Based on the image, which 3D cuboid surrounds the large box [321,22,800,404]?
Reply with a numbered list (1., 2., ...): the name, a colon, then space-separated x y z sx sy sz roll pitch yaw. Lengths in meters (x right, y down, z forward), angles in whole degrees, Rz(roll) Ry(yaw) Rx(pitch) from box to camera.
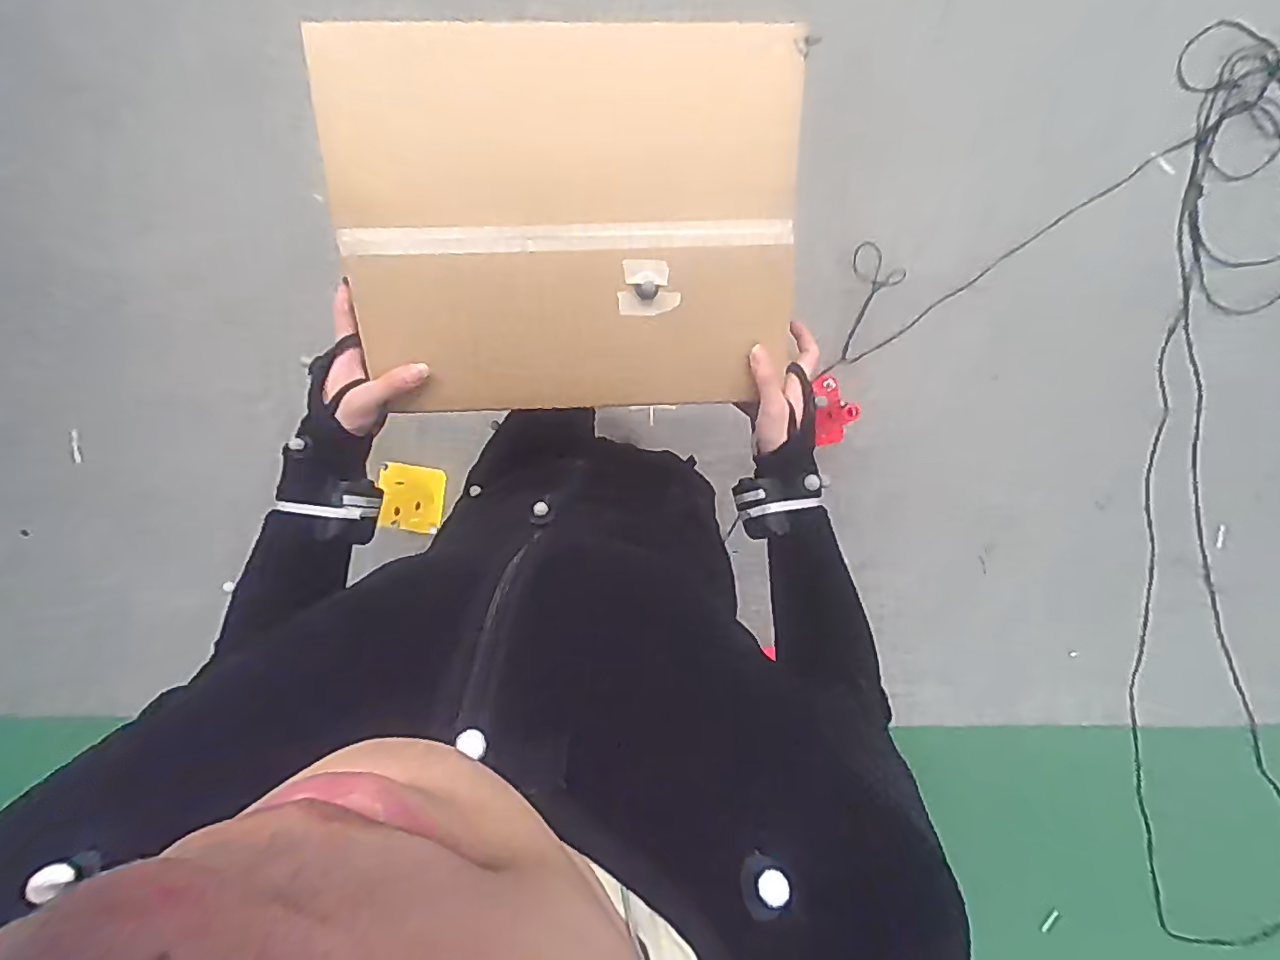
1. large box: -0.069 -0.280 0.635 0.408 0.320 0.320 -2 111 -4
